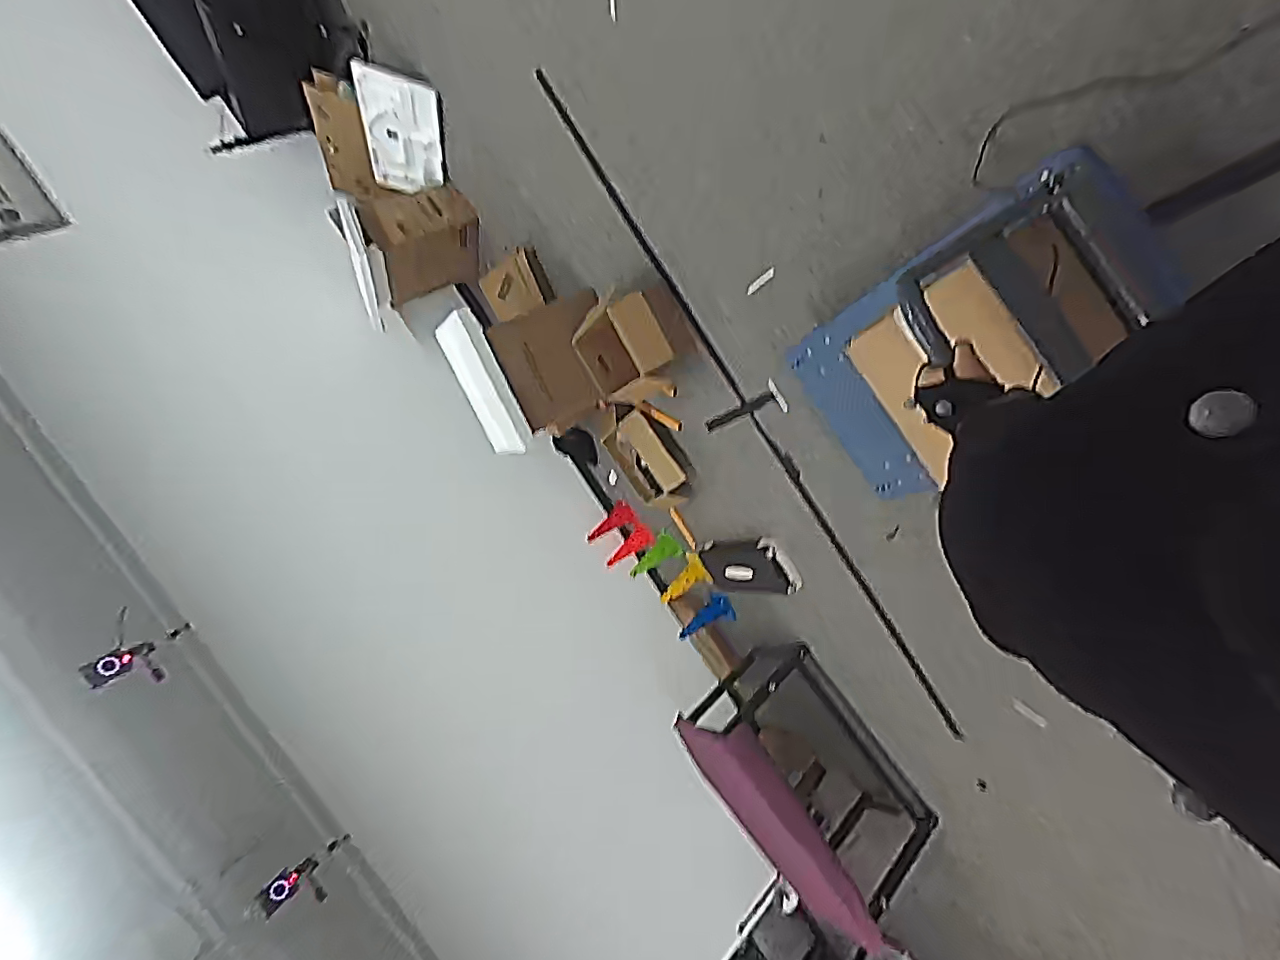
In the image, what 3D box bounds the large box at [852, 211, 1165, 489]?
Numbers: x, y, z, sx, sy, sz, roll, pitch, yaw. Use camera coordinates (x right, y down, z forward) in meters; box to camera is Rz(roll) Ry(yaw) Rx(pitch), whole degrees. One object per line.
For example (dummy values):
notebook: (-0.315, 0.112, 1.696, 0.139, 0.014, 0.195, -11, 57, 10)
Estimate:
large box: (0.742, -0.253, 1.115, 0.408, 0.320, 0.320, 56, 154, 1)
